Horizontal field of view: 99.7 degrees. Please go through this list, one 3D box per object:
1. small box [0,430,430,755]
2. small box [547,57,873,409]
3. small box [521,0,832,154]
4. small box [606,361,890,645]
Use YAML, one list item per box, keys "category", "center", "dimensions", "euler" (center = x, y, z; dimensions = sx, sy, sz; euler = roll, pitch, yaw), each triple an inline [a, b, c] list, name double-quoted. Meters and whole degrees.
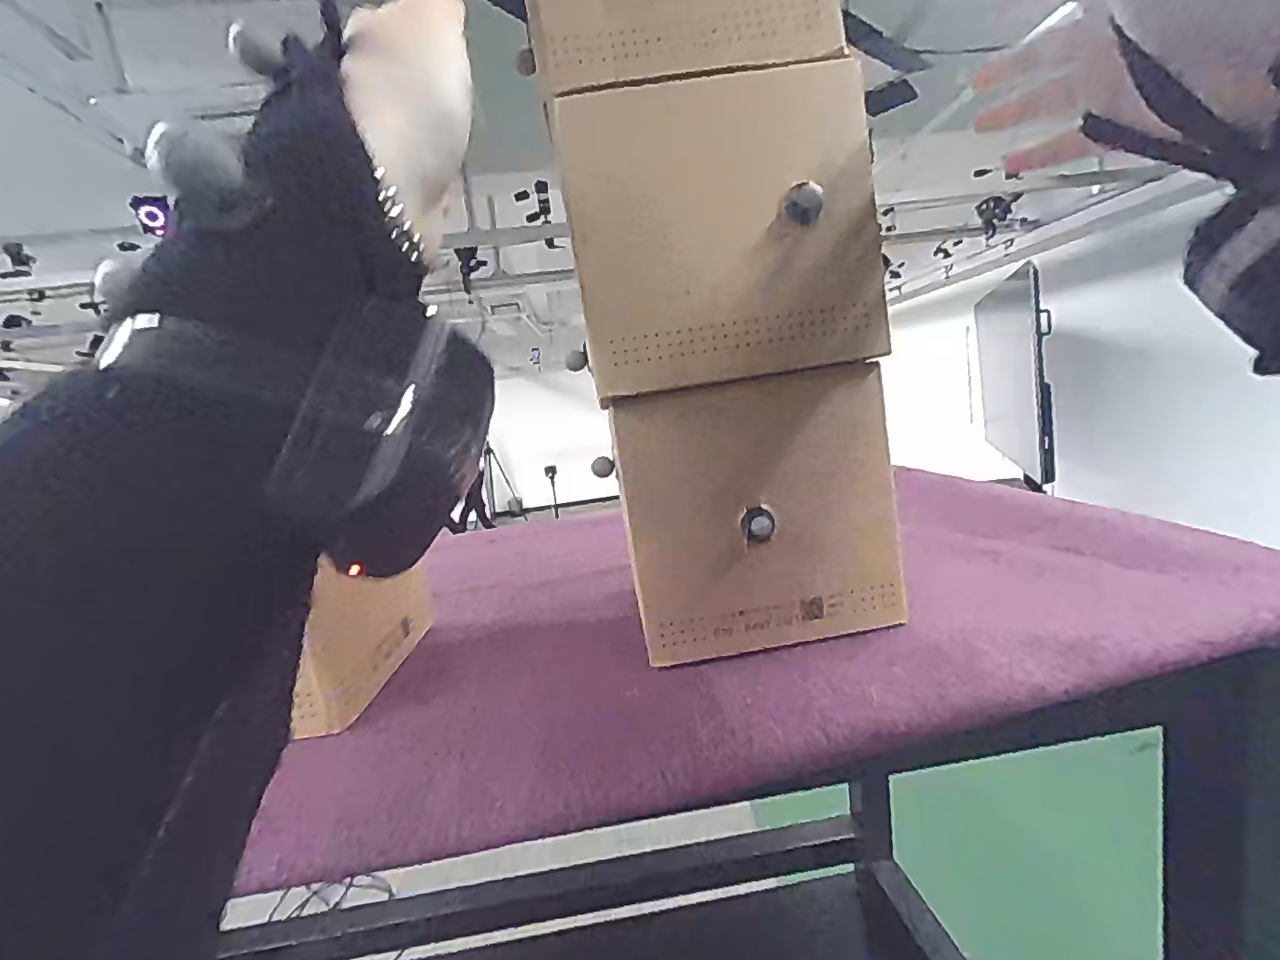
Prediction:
- category: "small box"
  center: [-0.269, 0.062, 0.374]
  dimensions: [0.179, 0.176, 0.168]
  euler: [-8, 9, -2]
- category: "small box"
  center: [0.043, -0.144, 0.377]
  dimensions: [0.179, 0.176, 0.168]
  euler: [-10, 5, -3]
- category: "small box"
  center: [0.014, -0.304, 0.369]
  dimensions: [0.179, 0.176, 0.168]
  euler: [-9, 5, -1]
- category: "small box"
  center: [0.068, 0.014, 0.410]
  dimensions: [0.168, 0.176, 0.179]
  euler: [-8, 6, -3]
